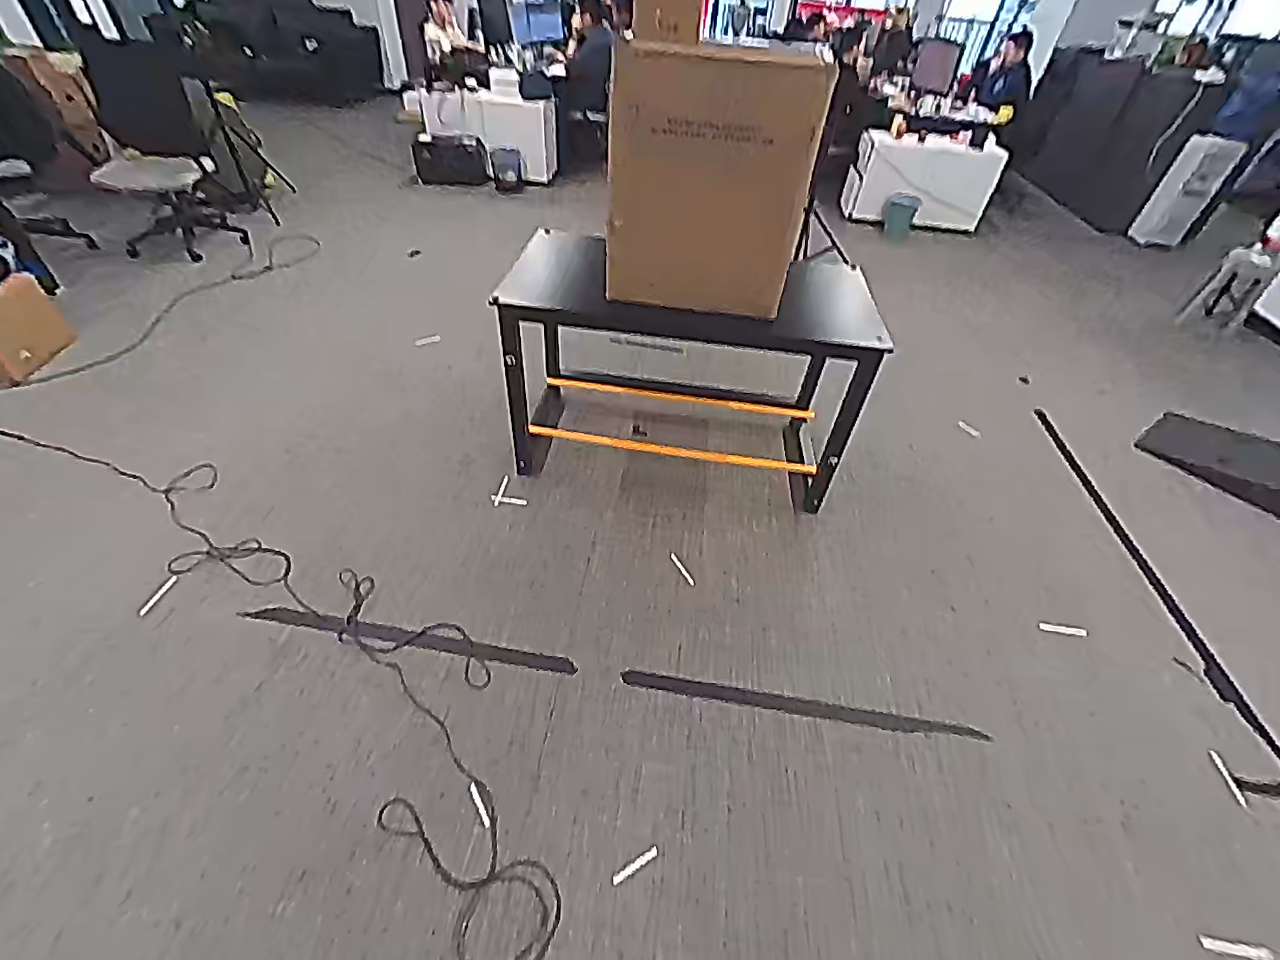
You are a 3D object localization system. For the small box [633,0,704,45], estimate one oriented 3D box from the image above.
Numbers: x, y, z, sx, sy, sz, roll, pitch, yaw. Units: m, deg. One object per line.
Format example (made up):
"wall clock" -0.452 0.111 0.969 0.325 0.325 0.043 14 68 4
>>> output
"small box" 0.070 -1.178 1.306 0.168 0.176 0.179 3 46 -1
